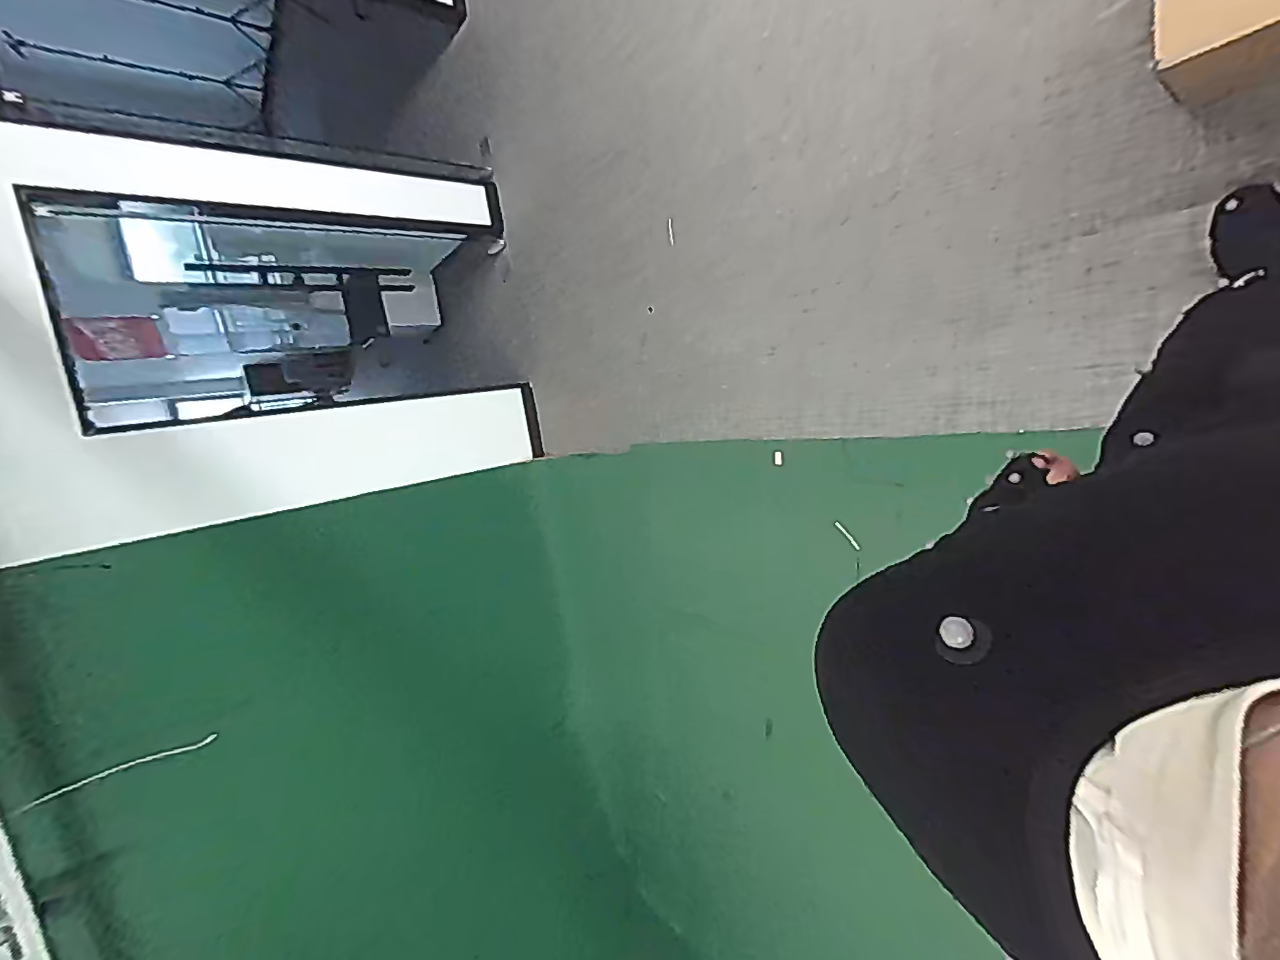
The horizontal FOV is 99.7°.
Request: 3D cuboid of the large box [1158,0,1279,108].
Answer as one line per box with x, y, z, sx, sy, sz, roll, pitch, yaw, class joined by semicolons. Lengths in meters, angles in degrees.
1.101;-0.868;0.831;0.408;0.320;0.320;0;100;53;large box
